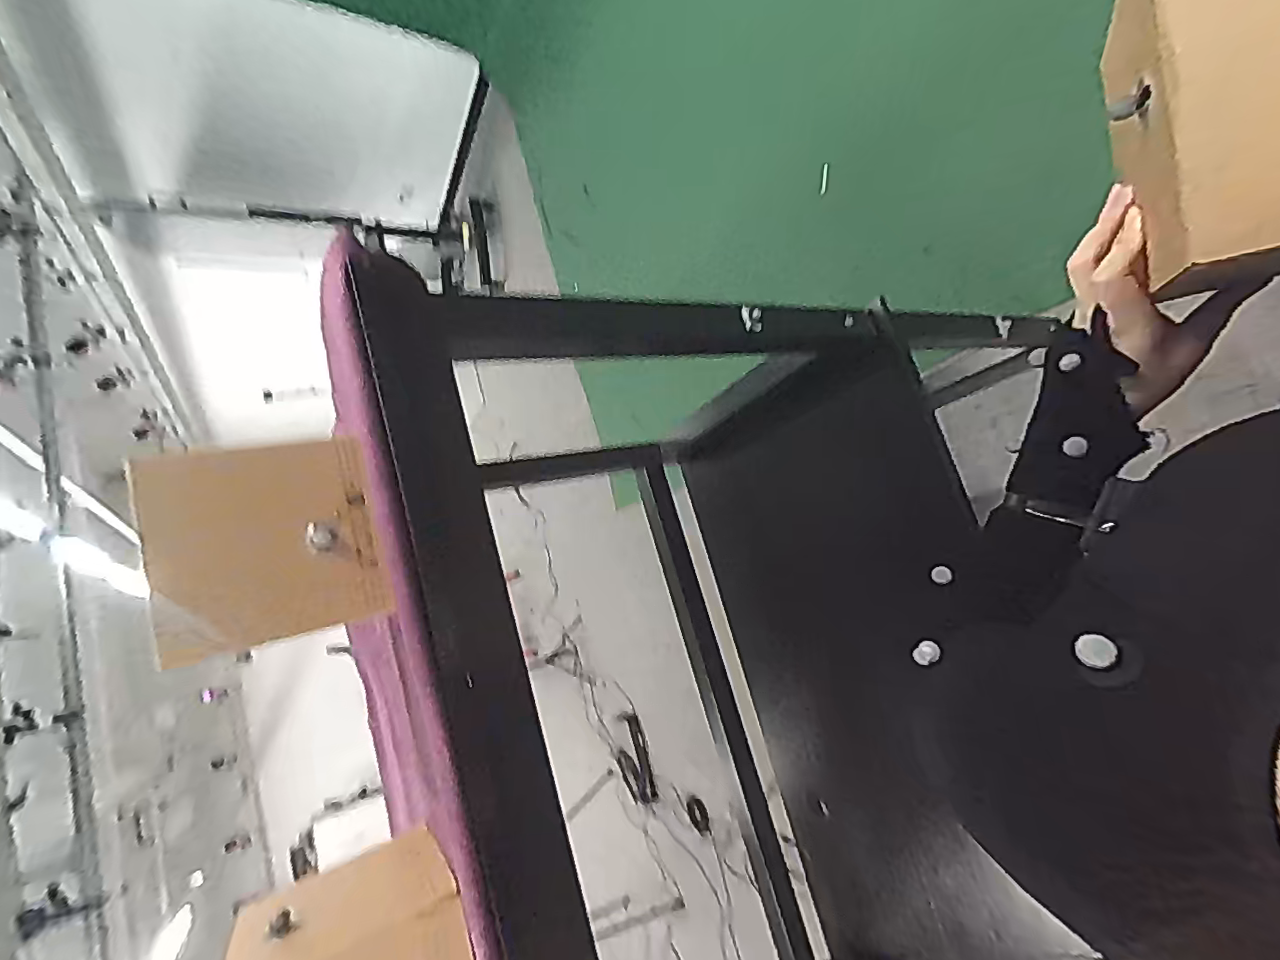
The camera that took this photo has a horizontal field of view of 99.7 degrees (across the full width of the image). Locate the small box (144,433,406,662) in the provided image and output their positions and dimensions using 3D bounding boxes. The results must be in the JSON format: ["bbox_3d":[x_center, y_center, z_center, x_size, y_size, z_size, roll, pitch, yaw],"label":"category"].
[{"bbox_3d":[-0.334,0.061,0.518,0.179,0.176,0.168,-23,80,56],"label":"small box"}]

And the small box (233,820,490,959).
[{"bbox_3d":[-0.227,0.427,0.461,0.179,0.176,0.168,-25,78,57],"label":"small box"}]
